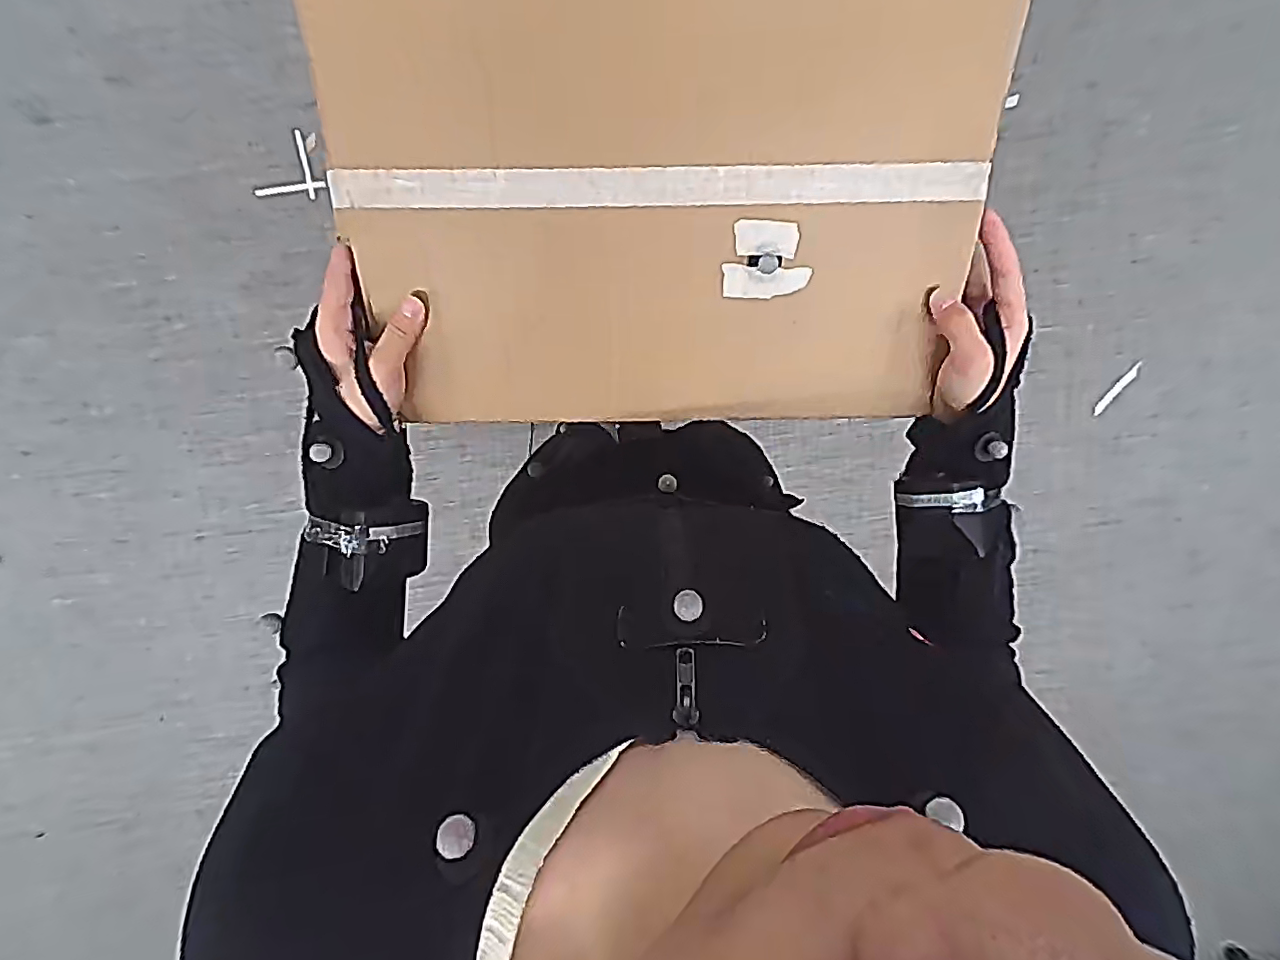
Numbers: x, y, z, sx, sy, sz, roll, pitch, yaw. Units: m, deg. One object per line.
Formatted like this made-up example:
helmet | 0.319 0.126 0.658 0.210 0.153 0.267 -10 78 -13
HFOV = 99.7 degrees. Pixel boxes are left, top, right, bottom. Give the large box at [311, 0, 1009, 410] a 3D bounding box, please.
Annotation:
large box | 0.009 -0.261 0.477 0.408 0.320 0.320 -1 117 -1
